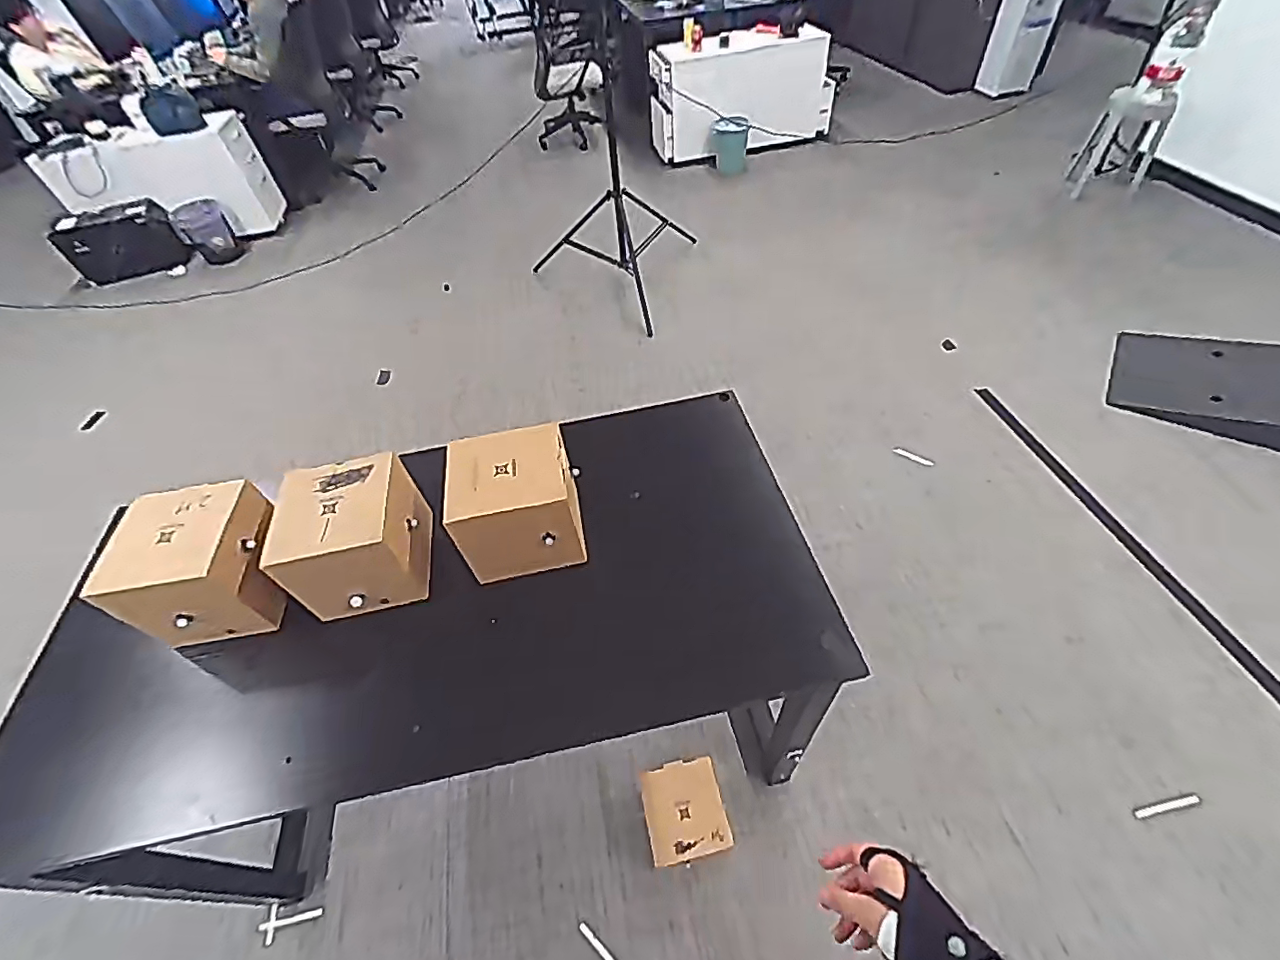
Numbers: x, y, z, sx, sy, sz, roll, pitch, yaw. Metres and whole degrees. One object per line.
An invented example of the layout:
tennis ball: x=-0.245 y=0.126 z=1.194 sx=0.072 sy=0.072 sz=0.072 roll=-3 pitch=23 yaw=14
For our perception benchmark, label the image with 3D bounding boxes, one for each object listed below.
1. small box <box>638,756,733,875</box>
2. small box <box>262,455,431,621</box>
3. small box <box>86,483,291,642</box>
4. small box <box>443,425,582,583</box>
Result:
small box: x=0.097 y=0.740 z=1.190 sx=0.168 sy=0.176 sz=0.179 roll=-13 pitch=49 yaw=-4
small box: x=-0.437 y=0.091 z=0.840 sx=0.168 sy=0.176 sz=0.179 roll=-13 pitch=51 yaw=-5
small box: x=-0.657 y=0.133 z=0.829 sx=0.168 sy=0.176 sz=0.179 roll=-9 pitch=49 yaw=-3
small box: x=-0.194 y=0.041 z=0.860 sx=0.179 sy=0.176 sz=0.168 roll=-13 pitch=48 yaw=-3
